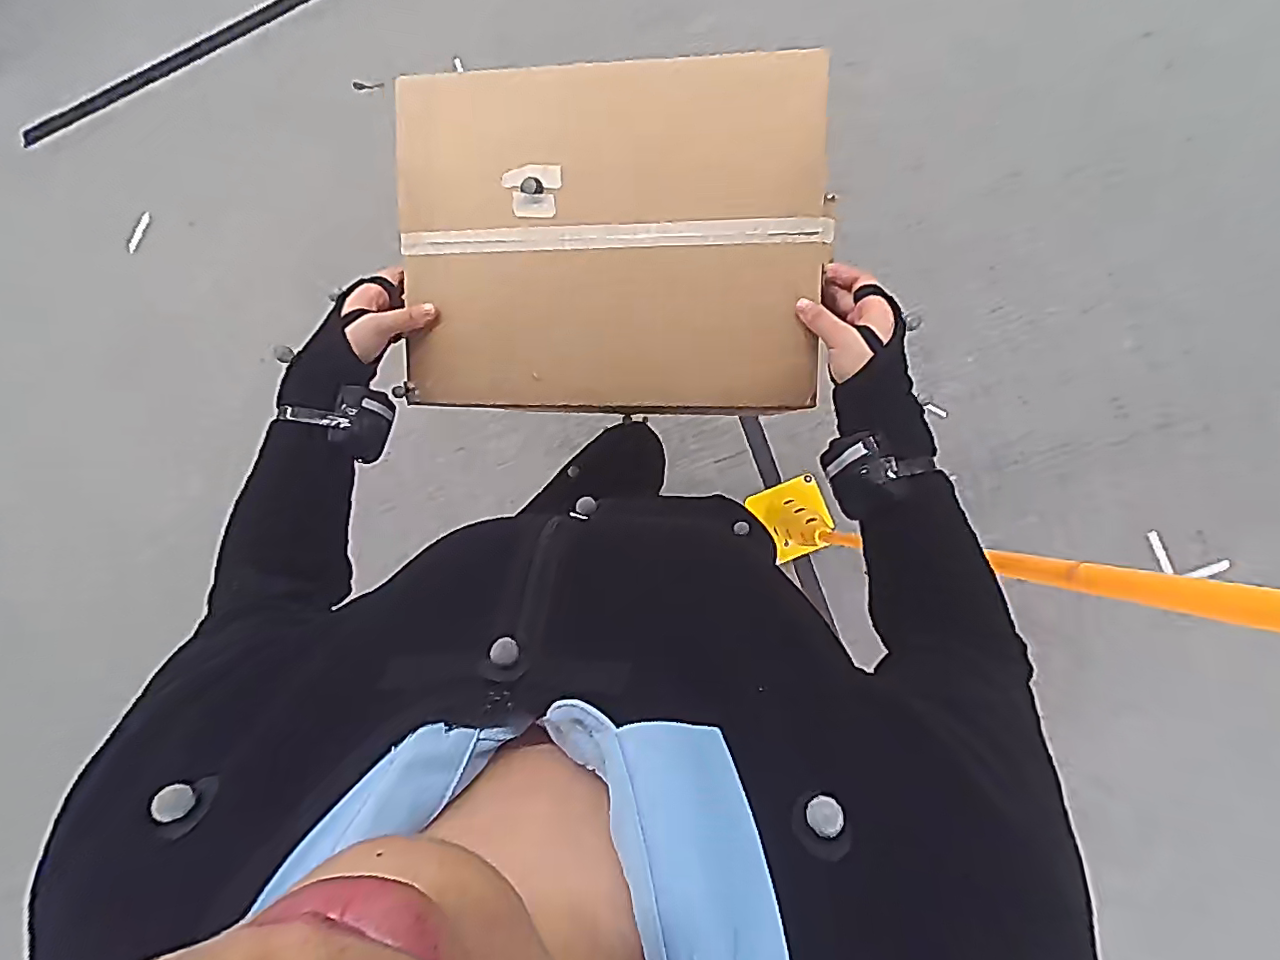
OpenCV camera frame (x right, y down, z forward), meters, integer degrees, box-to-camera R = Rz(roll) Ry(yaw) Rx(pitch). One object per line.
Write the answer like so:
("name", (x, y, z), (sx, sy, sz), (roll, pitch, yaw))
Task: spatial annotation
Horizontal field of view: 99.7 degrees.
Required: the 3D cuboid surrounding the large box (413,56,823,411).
("large box", (-0.009, -0.244, 0.670), (0.408, 0.320, 0.320), (2, 94, 8))
